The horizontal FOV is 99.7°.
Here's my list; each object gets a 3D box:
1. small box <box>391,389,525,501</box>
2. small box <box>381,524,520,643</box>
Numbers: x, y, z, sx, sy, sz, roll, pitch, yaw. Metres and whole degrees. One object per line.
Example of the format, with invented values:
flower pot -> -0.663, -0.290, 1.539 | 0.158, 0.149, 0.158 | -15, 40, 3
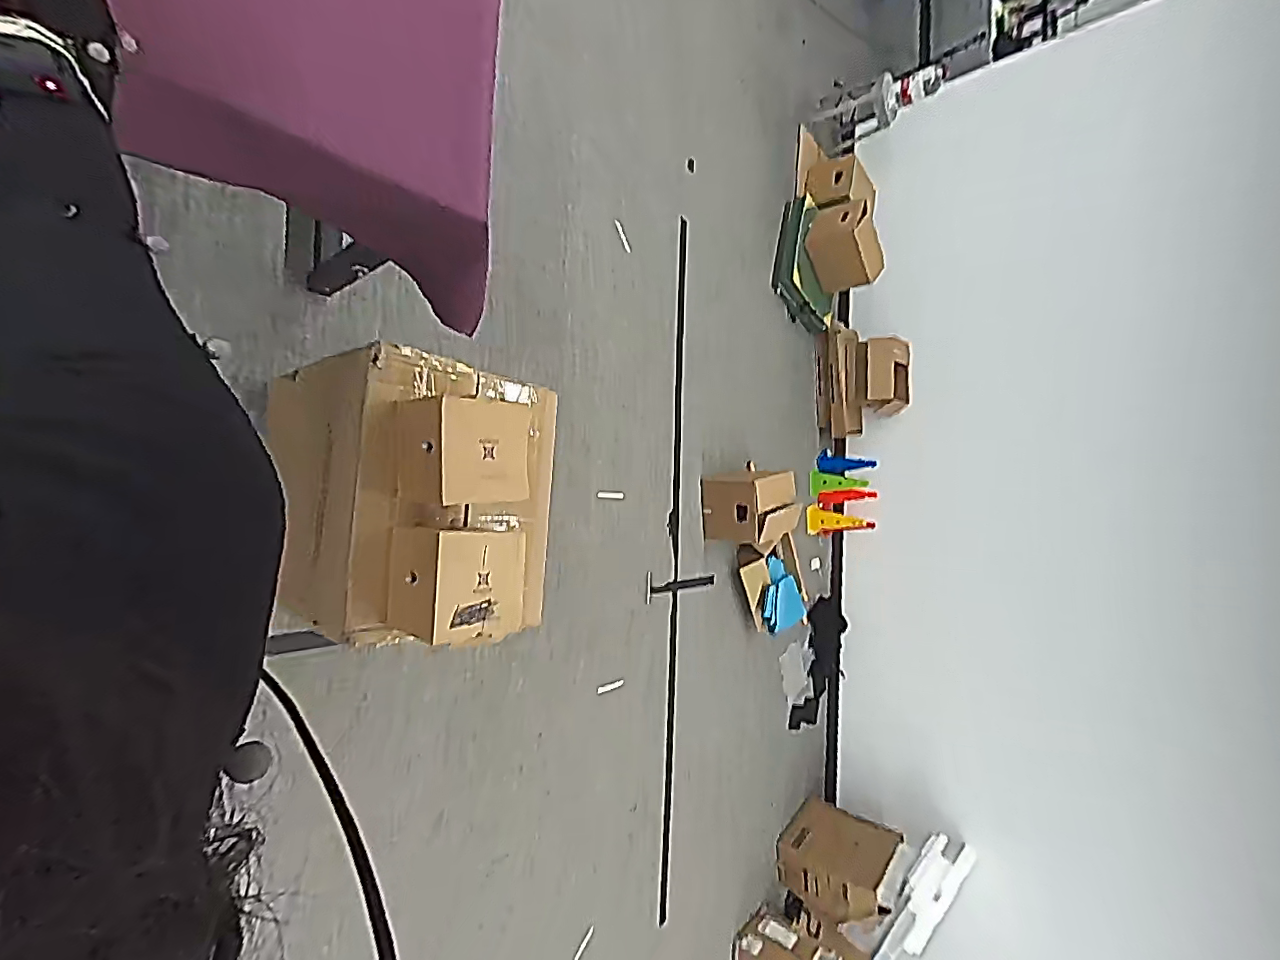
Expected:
small box -> -0.318, -0.056, 0.942 | 0.168, 0.176, 0.179 | -1, 93, -48
small box -> -0.328, 0.168, 0.932 | 0.168, 0.176, 0.179 | 6, 84, -49
